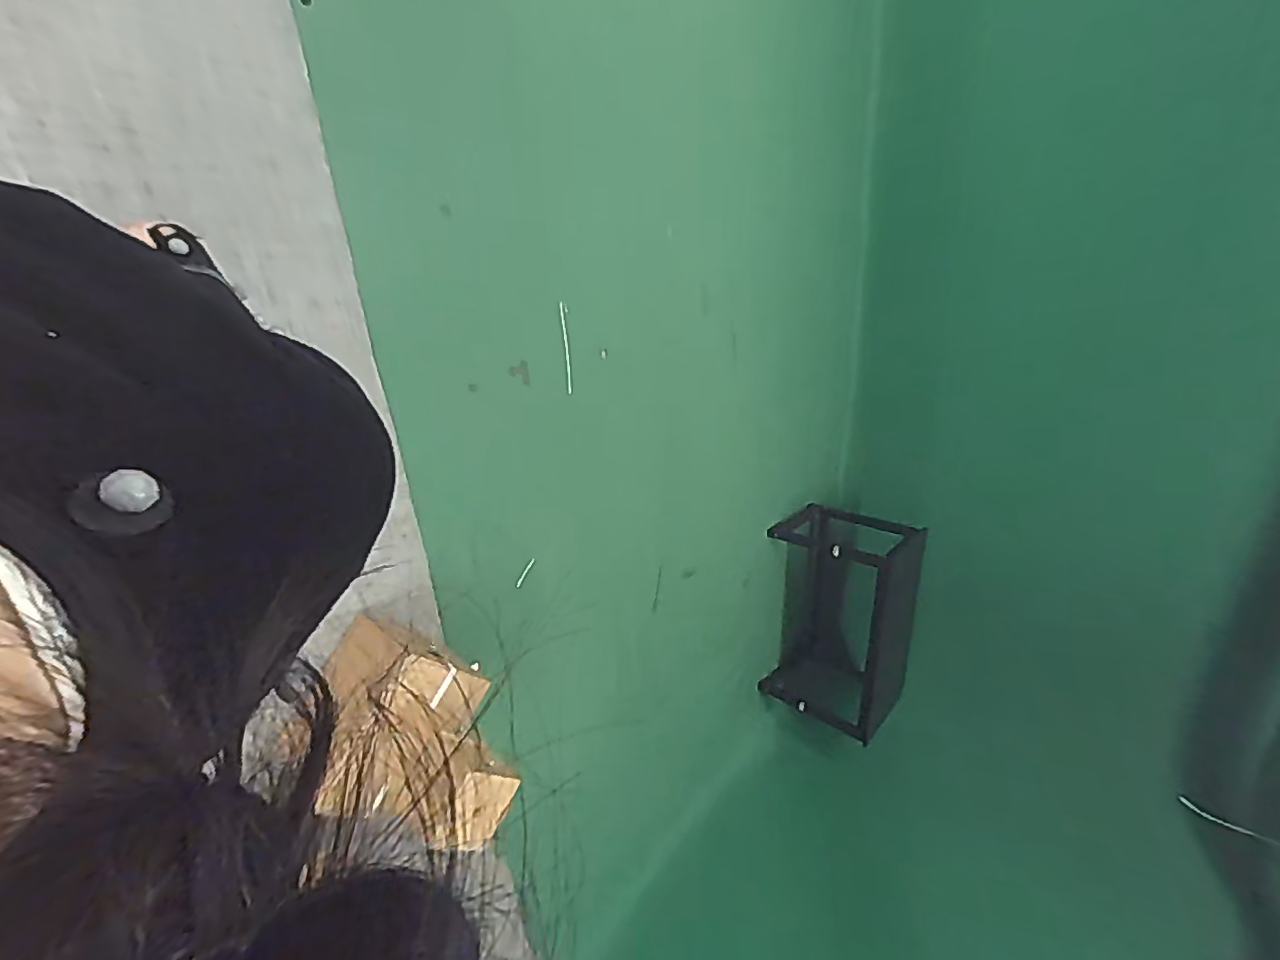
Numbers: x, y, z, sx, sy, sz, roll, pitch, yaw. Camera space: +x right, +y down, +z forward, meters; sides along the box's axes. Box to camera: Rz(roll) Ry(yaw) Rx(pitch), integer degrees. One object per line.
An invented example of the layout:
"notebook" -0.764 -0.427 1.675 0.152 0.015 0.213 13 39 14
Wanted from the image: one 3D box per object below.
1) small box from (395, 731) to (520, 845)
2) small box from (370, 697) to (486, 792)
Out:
"small box" -0.422 0.709 1.252 0.179 0.176 0.168 47 66 -45
"small box" -0.535 0.675 1.364 0.168 0.176 0.179 -58 136 -18
